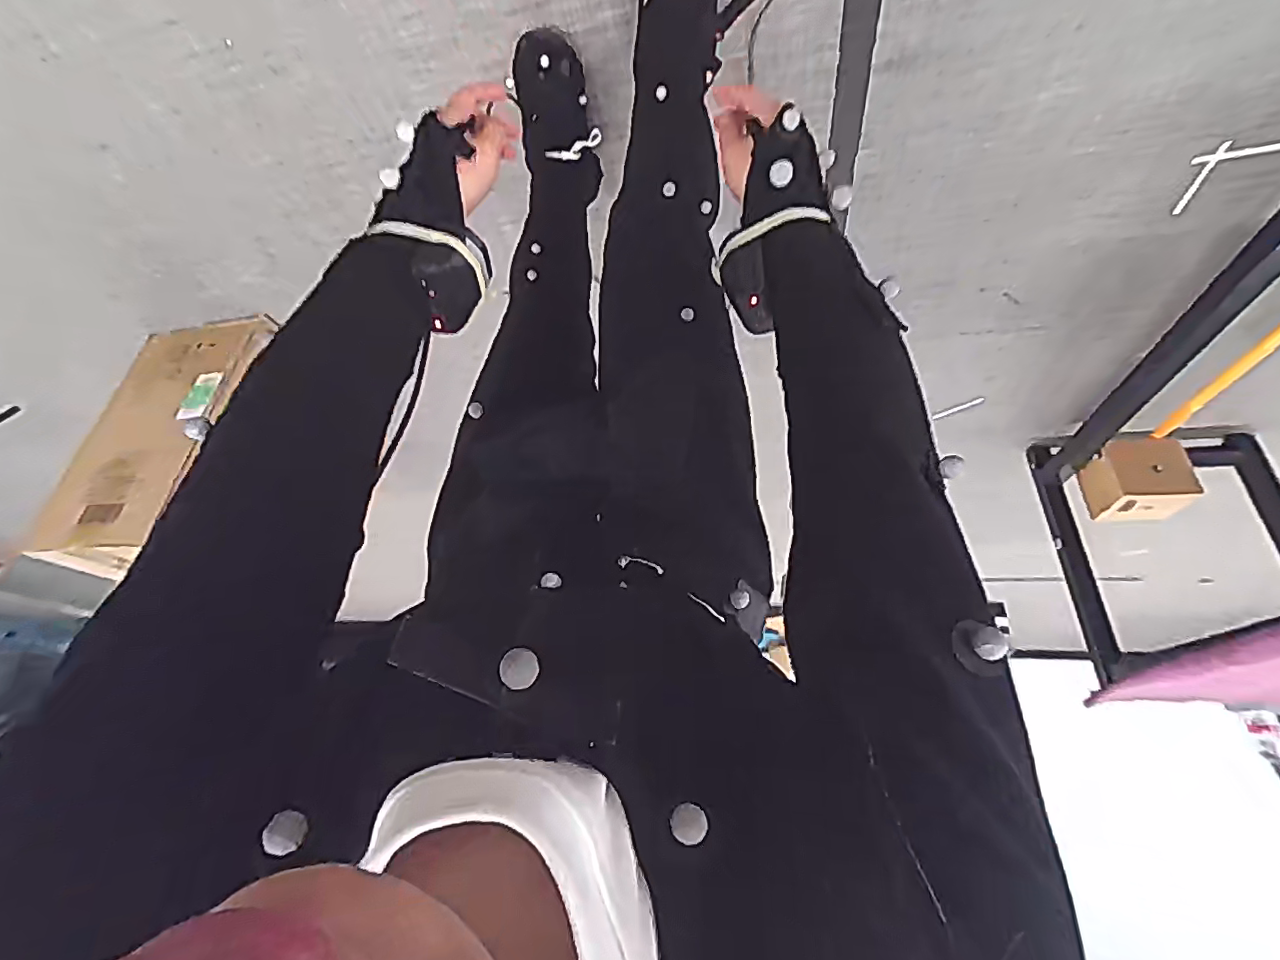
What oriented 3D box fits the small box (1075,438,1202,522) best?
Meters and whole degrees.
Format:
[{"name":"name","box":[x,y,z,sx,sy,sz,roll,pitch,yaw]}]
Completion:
[{"name":"small box","box":[1.330,0.001,1.461,0.179,0.176,0.168,-3,151,11]}]
